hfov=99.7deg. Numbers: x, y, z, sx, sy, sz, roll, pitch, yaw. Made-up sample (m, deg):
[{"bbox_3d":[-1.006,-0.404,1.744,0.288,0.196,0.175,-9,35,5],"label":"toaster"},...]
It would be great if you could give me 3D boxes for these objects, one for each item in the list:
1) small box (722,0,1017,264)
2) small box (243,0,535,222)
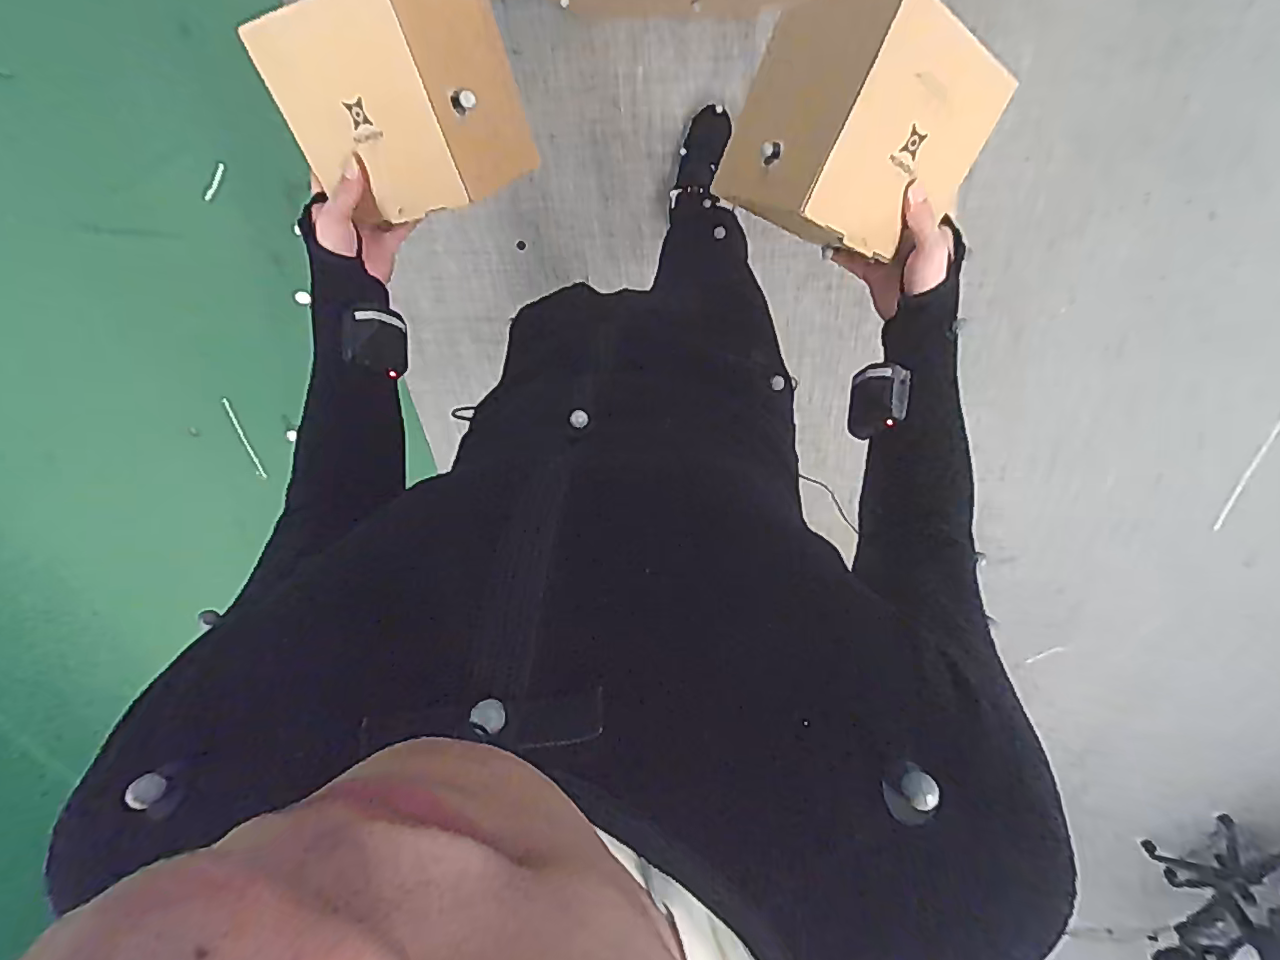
[{"bbox_3d":[0.205,-0.342,0.532,0.168,0.176,0.179,9,117,-31],"label":"small box"},{"bbox_3d":[-0.234,-0.392,0.555,0.168,0.176,0.179,0,131,21],"label":"small box"}]
